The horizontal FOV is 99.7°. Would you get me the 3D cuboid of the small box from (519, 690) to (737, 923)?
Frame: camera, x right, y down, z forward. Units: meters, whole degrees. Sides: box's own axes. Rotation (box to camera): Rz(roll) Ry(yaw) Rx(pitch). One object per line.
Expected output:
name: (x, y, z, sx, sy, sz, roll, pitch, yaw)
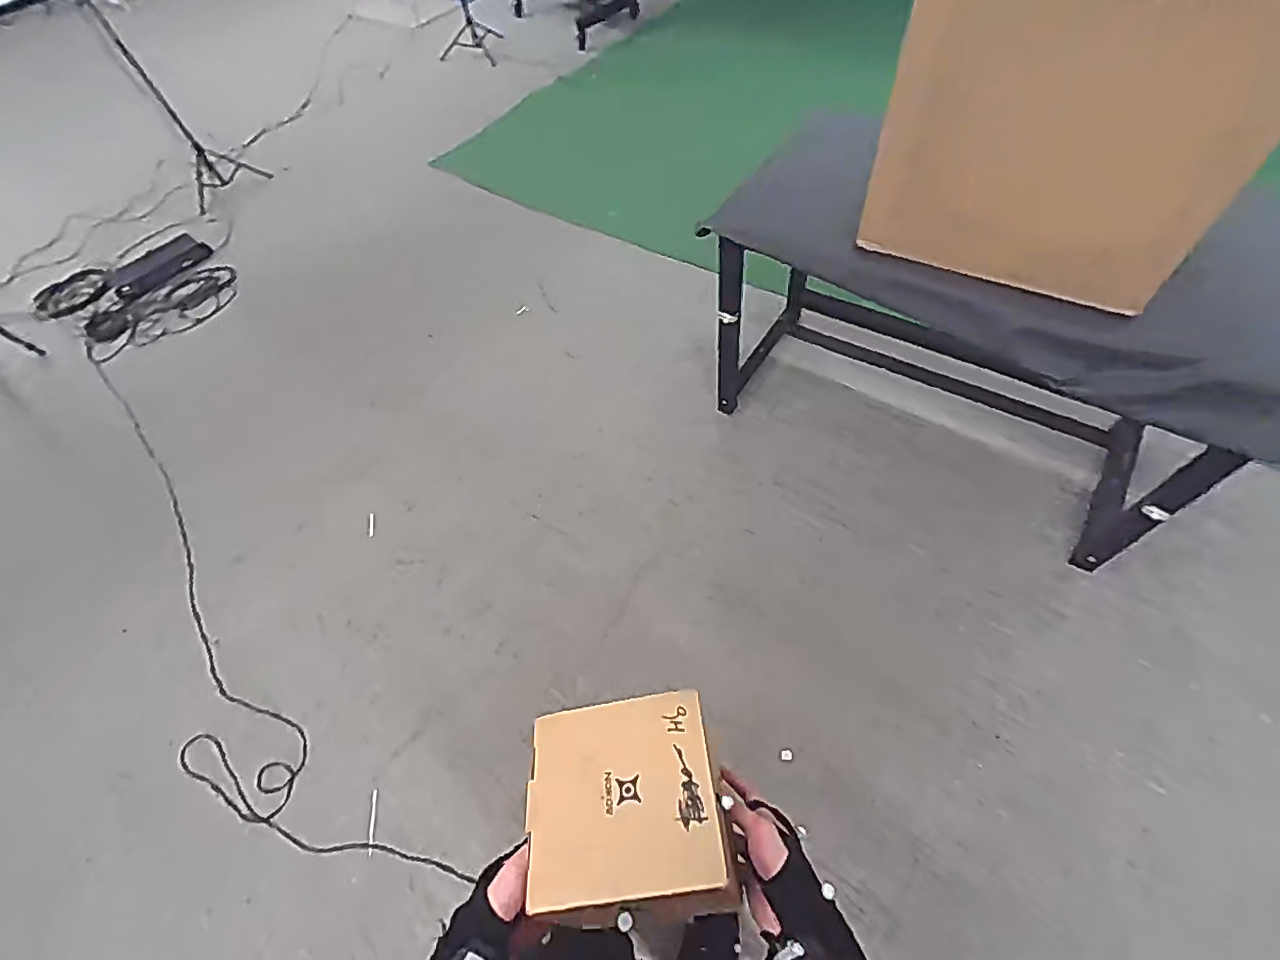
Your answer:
small box: (-0.006, 0.343, 0.562, 0.179, 0.176, 0.168, -12, 46, 6)
